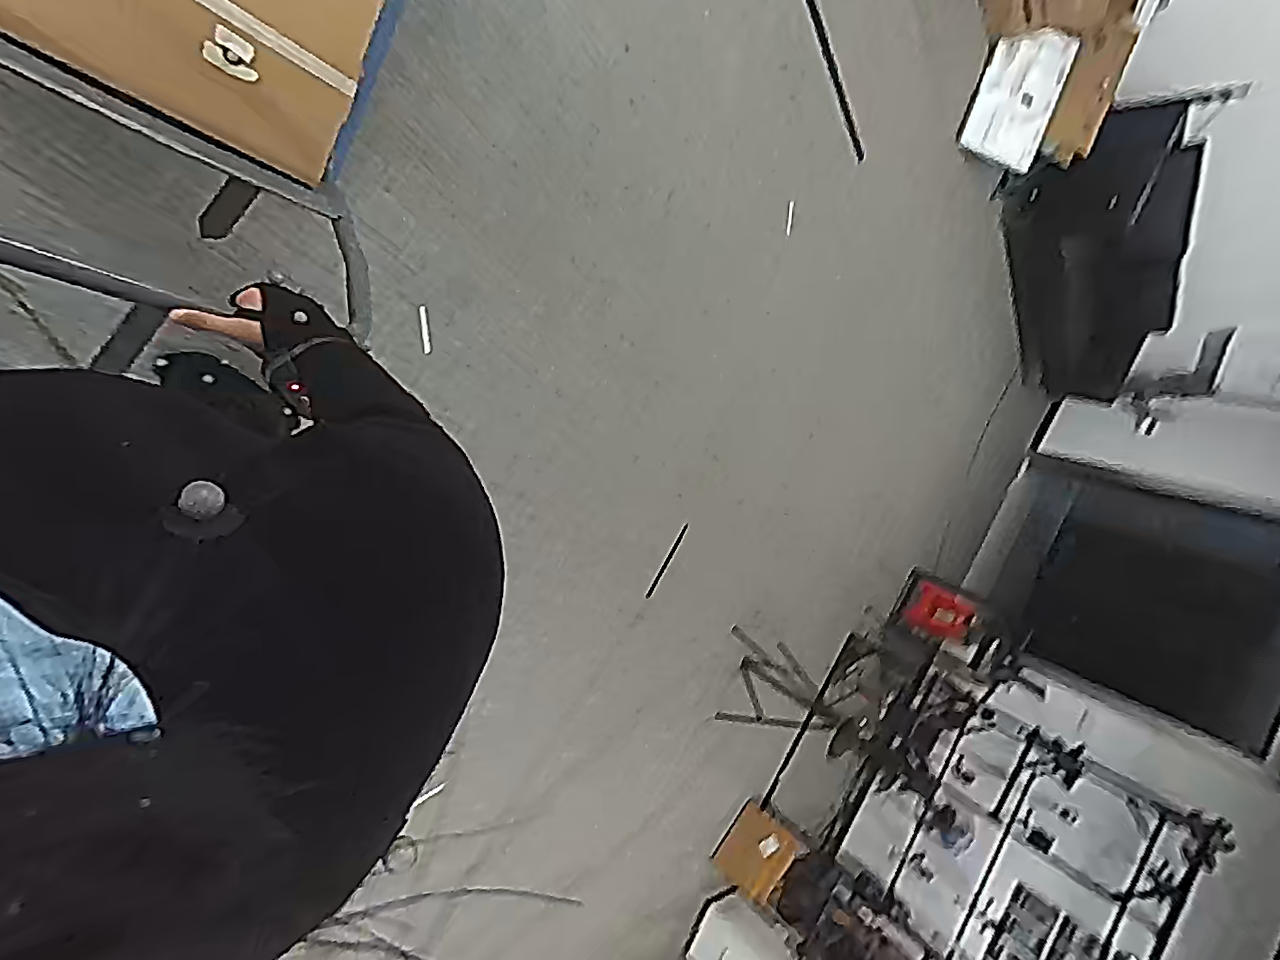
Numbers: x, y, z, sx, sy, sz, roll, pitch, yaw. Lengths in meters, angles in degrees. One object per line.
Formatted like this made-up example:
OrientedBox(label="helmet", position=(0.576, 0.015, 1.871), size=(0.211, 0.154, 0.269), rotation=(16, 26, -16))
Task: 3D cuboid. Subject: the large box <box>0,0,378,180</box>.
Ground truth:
OrientedBox(label="large box", position=(-0.646, -0.708, 0.749), size=(0.408, 0.320, 0.320), rotation=(13, 120, -47))
